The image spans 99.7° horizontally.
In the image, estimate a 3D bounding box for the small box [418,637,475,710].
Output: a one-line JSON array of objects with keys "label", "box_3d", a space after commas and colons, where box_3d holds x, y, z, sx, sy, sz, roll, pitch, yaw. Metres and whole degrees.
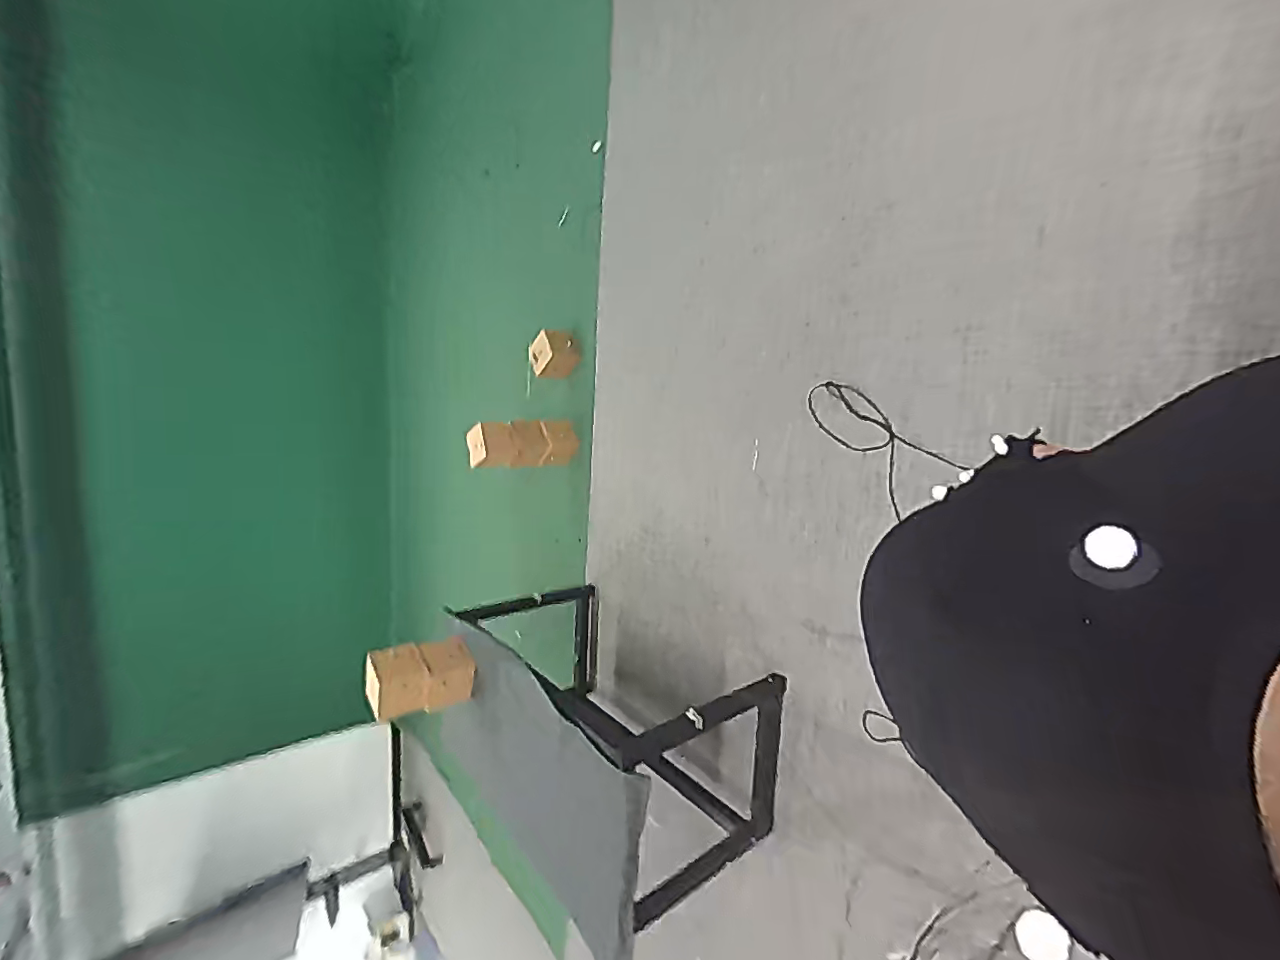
[{"label": "small box", "box_3d": [-0.736, 0.723, 2.042, 0.168, 0.176, 0.179, 39, 123, 42]}]

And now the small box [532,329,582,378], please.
[{"label": "small box", "box_3d": [-0.418, -0.631, 2.719, 0.179, 0.176, 0.168, -41, 61, 42]}]

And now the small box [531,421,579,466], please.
[{"label": "small box", "box_3d": [-0.429, -0.187, 2.763, 0.179, 0.176, 0.168, -50, 56, 40]}]

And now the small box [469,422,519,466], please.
[{"label": "small box", "box_3d": [-0.693, -0.168, 2.567, 0.179, 0.176, 0.168, -25, 73, 48]}]

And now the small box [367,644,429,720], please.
[{"label": "small box", "box_3d": [-0.872, 0.720, 1.950, 0.168, 0.176, 0.179, 34, 120, 45]}]
